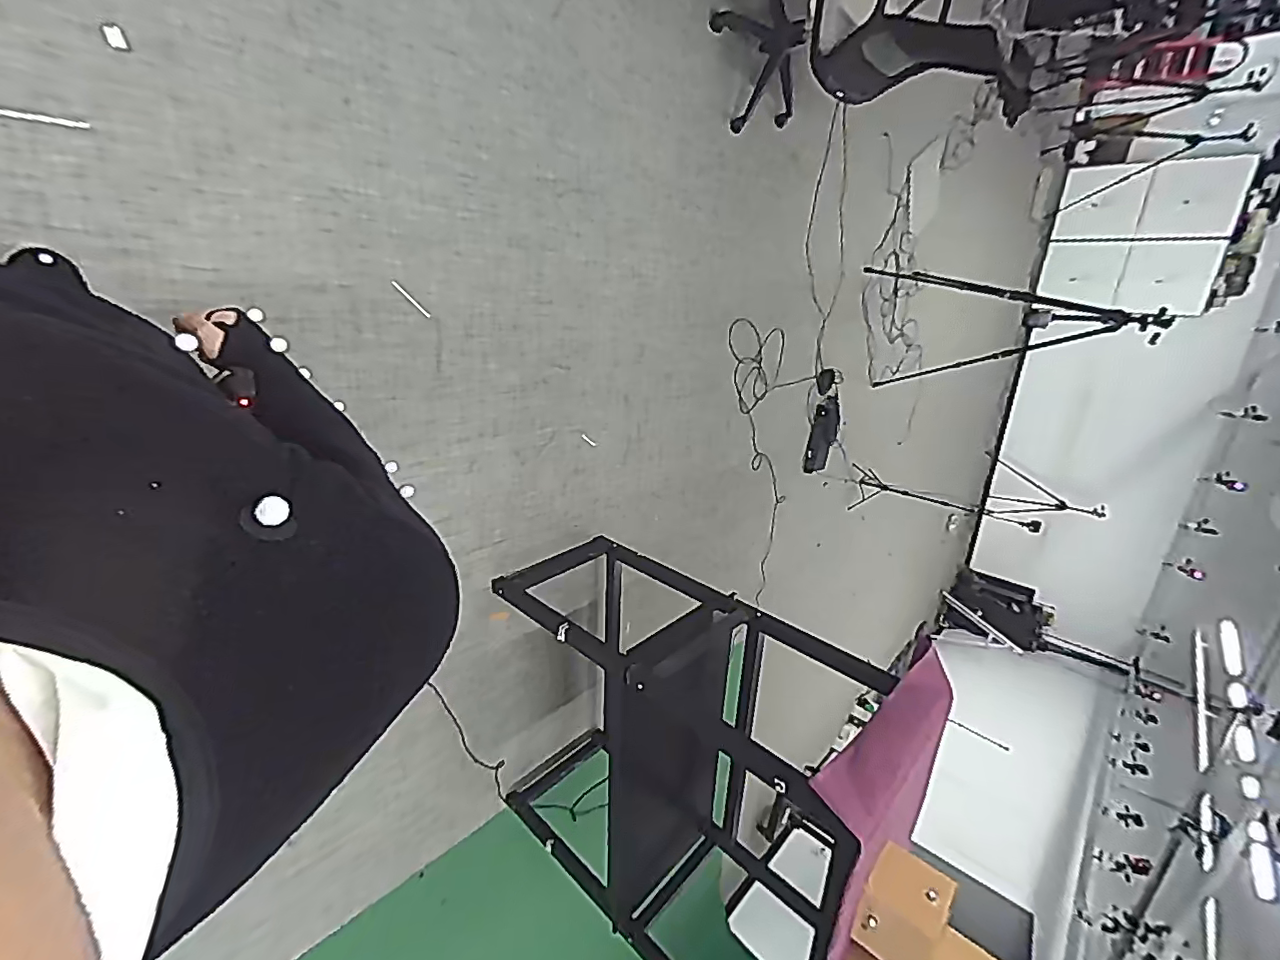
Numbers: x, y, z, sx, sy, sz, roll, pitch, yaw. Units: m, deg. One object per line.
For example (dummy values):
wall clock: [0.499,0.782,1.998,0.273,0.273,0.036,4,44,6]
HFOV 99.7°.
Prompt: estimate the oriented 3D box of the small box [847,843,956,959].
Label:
small box: [0.613,1.015,1.273,0.179,0.176,0.168,-14,114,-46]
